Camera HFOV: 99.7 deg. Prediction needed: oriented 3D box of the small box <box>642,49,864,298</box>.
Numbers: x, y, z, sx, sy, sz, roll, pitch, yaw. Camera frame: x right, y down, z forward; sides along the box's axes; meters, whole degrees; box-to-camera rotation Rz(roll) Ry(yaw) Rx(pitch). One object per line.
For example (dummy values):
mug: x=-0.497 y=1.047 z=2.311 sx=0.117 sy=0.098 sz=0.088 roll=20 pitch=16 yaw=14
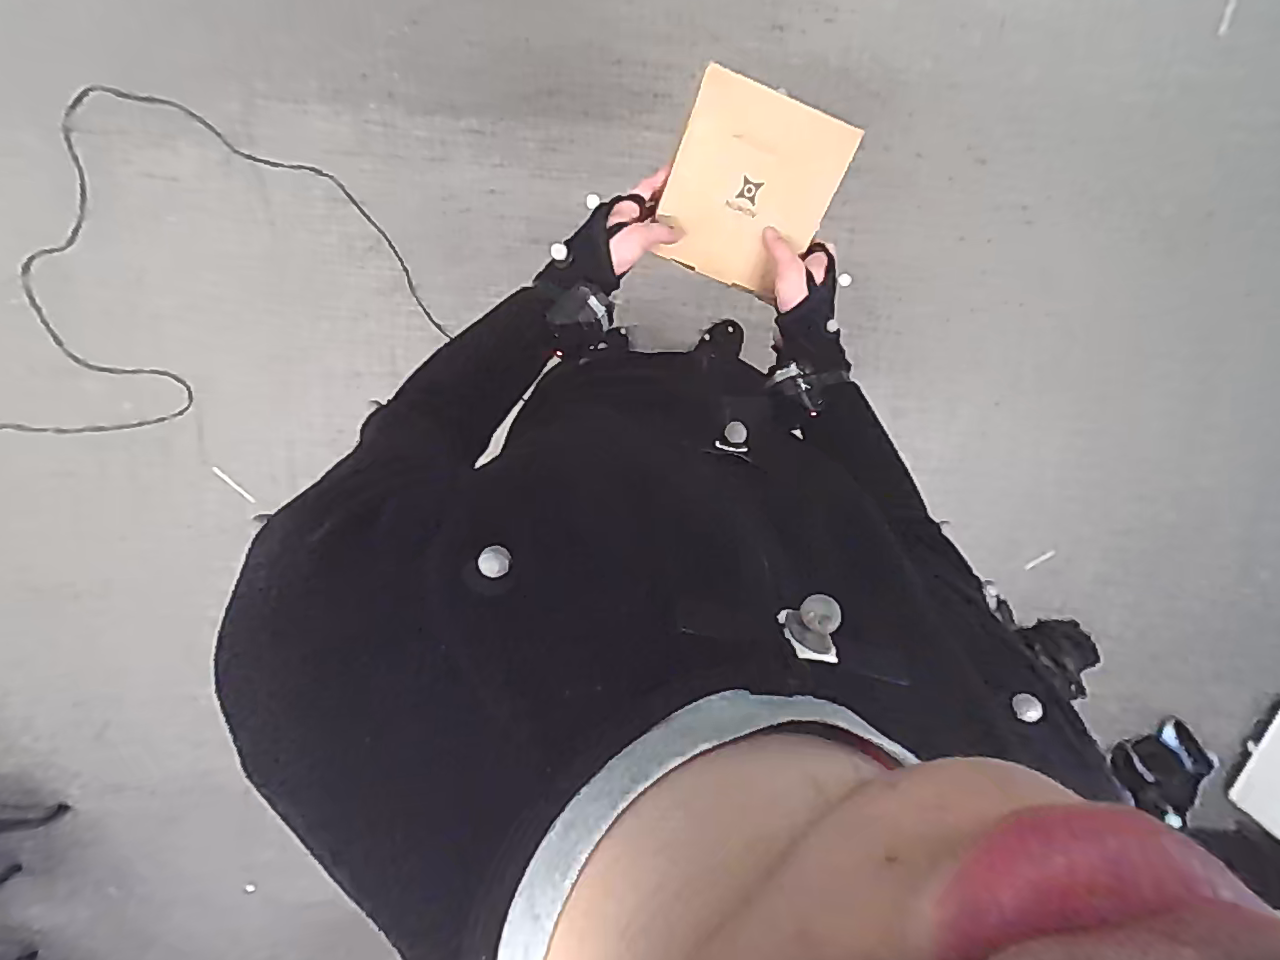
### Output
small box: x=0.109 y=-0.332 z=0.601 sx=0.168 sy=0.176 sz=0.179 roll=17 pitch=121 yaw=-10
